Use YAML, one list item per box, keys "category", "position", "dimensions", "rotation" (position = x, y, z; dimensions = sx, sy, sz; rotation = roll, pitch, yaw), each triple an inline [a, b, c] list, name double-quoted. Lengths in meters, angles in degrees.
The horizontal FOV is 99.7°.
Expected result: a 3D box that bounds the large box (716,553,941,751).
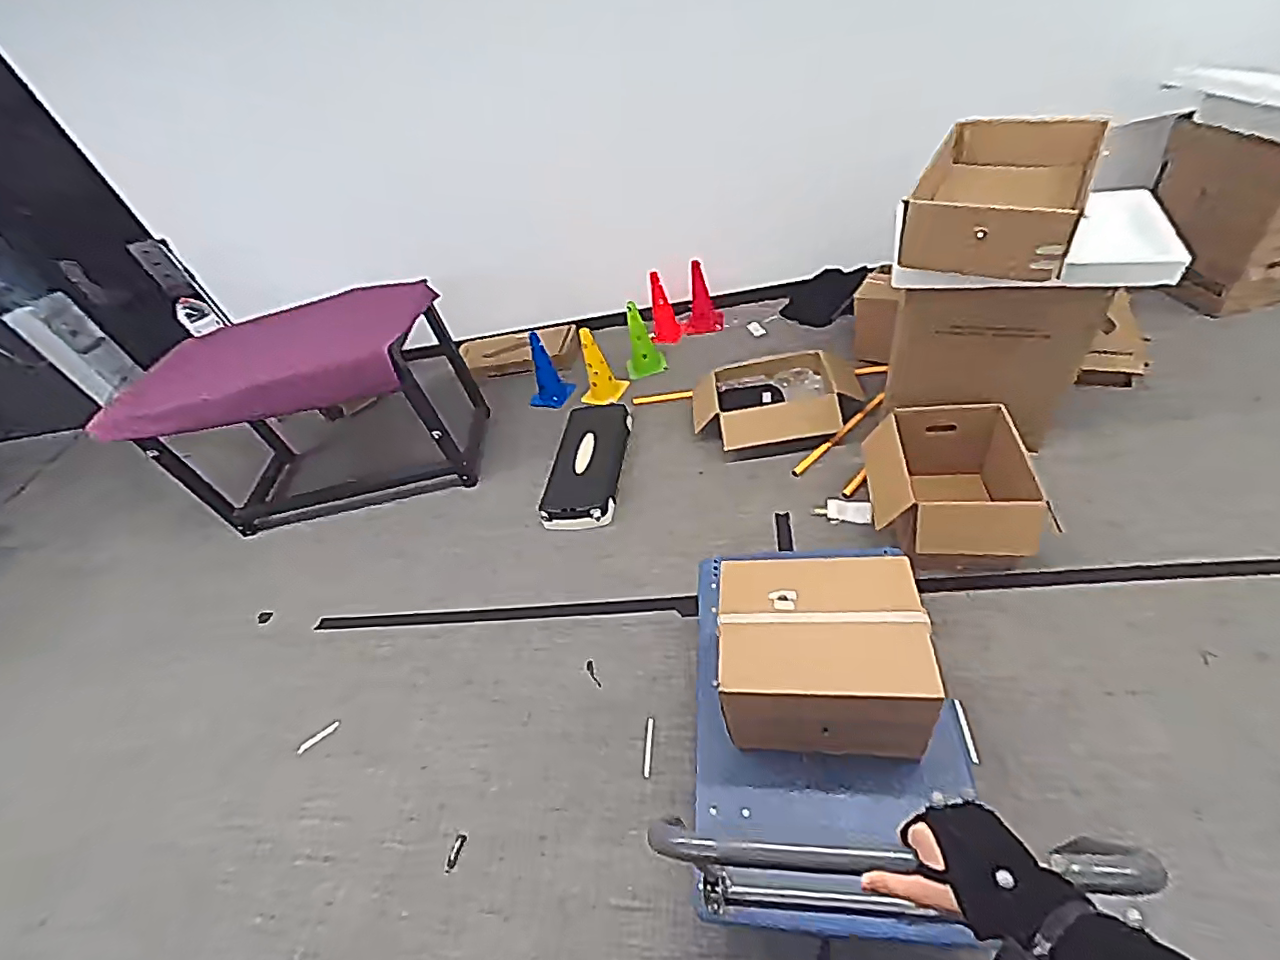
- category: "large box"
  position: [0.393, 0.387, 1.200]
  dimensions: [0.408, 0.320, 0.320]
  rotation: [-5, 43, 15]
